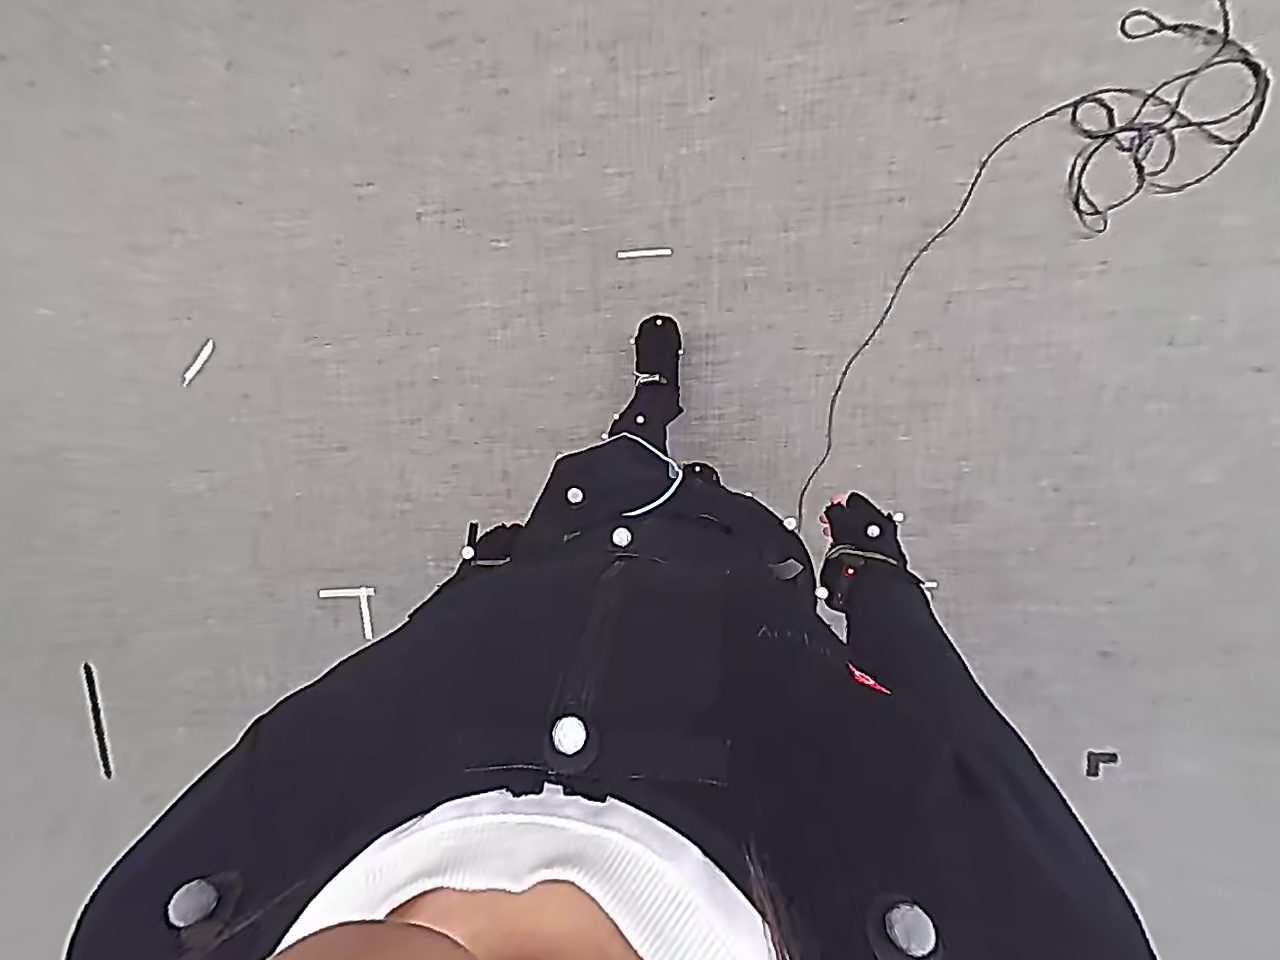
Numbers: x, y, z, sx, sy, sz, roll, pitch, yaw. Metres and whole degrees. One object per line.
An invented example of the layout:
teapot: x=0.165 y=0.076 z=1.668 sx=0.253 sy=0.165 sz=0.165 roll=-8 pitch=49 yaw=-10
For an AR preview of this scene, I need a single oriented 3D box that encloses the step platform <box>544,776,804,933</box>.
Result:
step platform: x=0.087 y=0.997 z=1.457 sx=0.684 sy=0.204 sz=0.286 roll=-3 pitch=96 yaw=9
